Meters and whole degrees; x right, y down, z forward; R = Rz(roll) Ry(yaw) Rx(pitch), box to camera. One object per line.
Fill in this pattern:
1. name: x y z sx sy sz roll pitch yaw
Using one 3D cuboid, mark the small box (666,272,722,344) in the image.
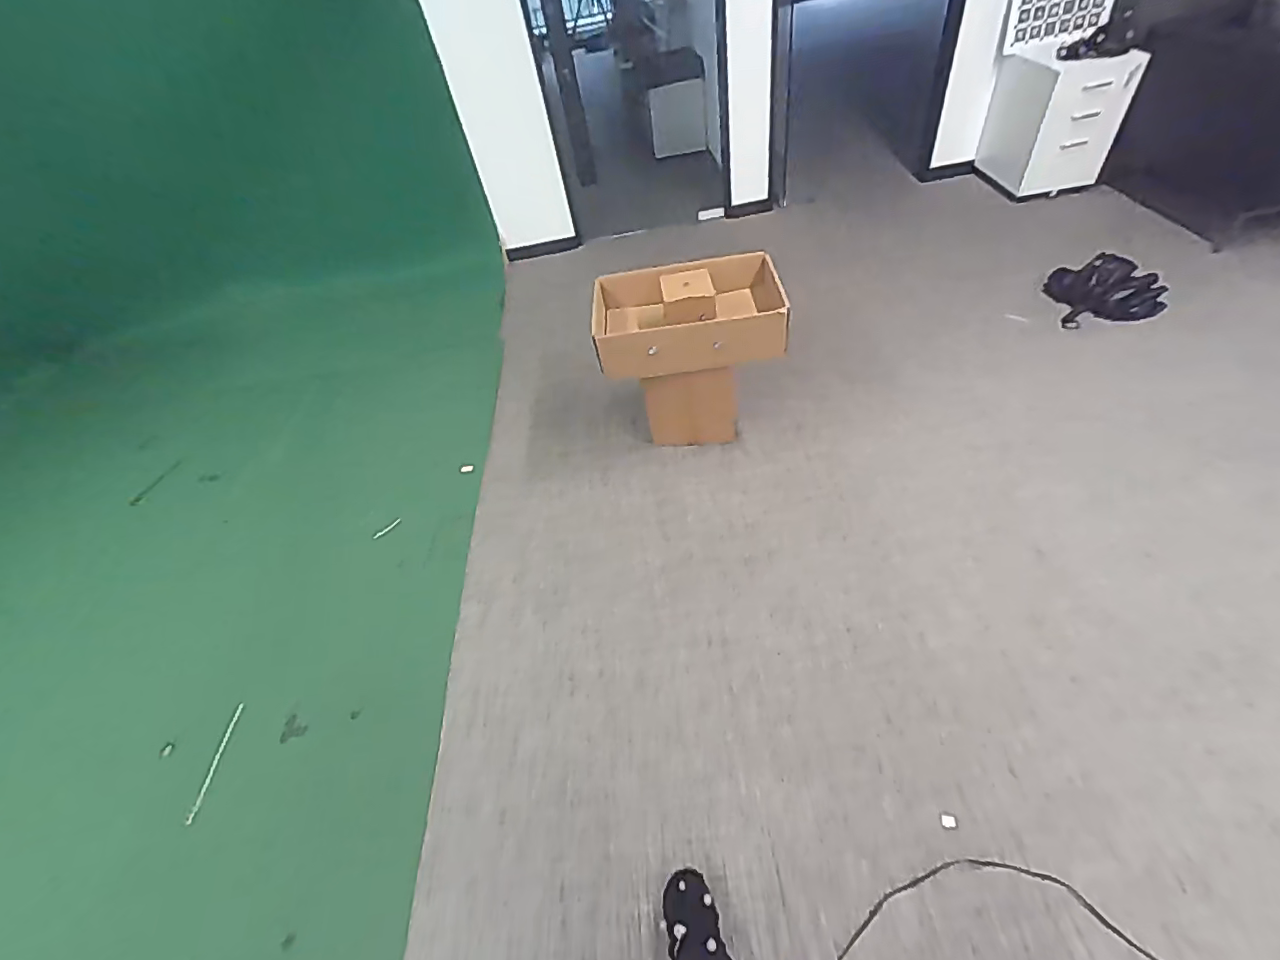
1. small box: 0.184 -0.573 1.828 0.168 0.176 0.179 -8 45 3
